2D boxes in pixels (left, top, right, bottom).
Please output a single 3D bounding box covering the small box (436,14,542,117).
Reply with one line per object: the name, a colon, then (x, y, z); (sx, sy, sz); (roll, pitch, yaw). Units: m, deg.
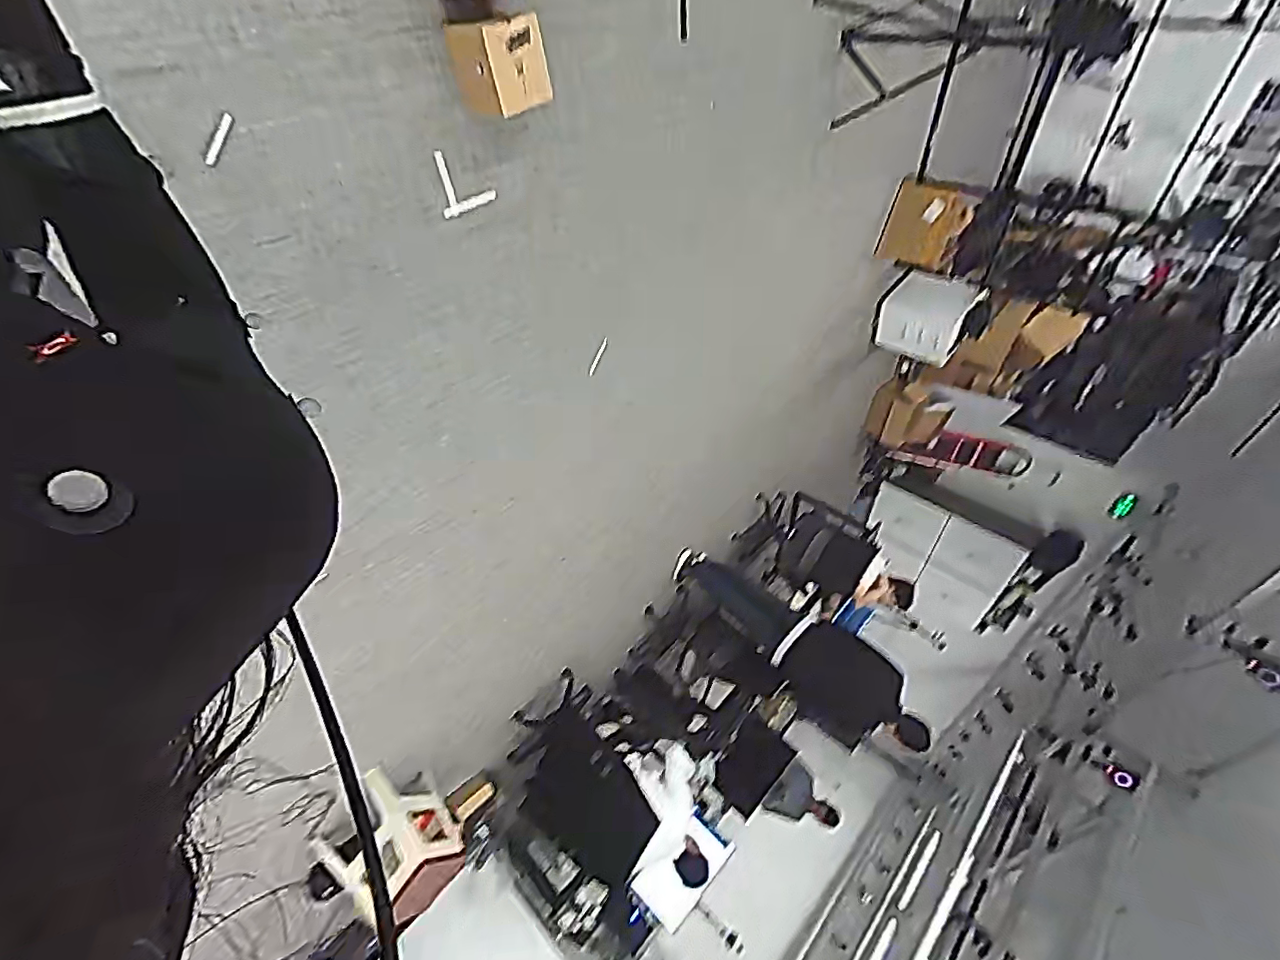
small box: (-0.375, -1.034, 1.347); (0.168, 0.176, 0.179); (-41, 146, -26)
